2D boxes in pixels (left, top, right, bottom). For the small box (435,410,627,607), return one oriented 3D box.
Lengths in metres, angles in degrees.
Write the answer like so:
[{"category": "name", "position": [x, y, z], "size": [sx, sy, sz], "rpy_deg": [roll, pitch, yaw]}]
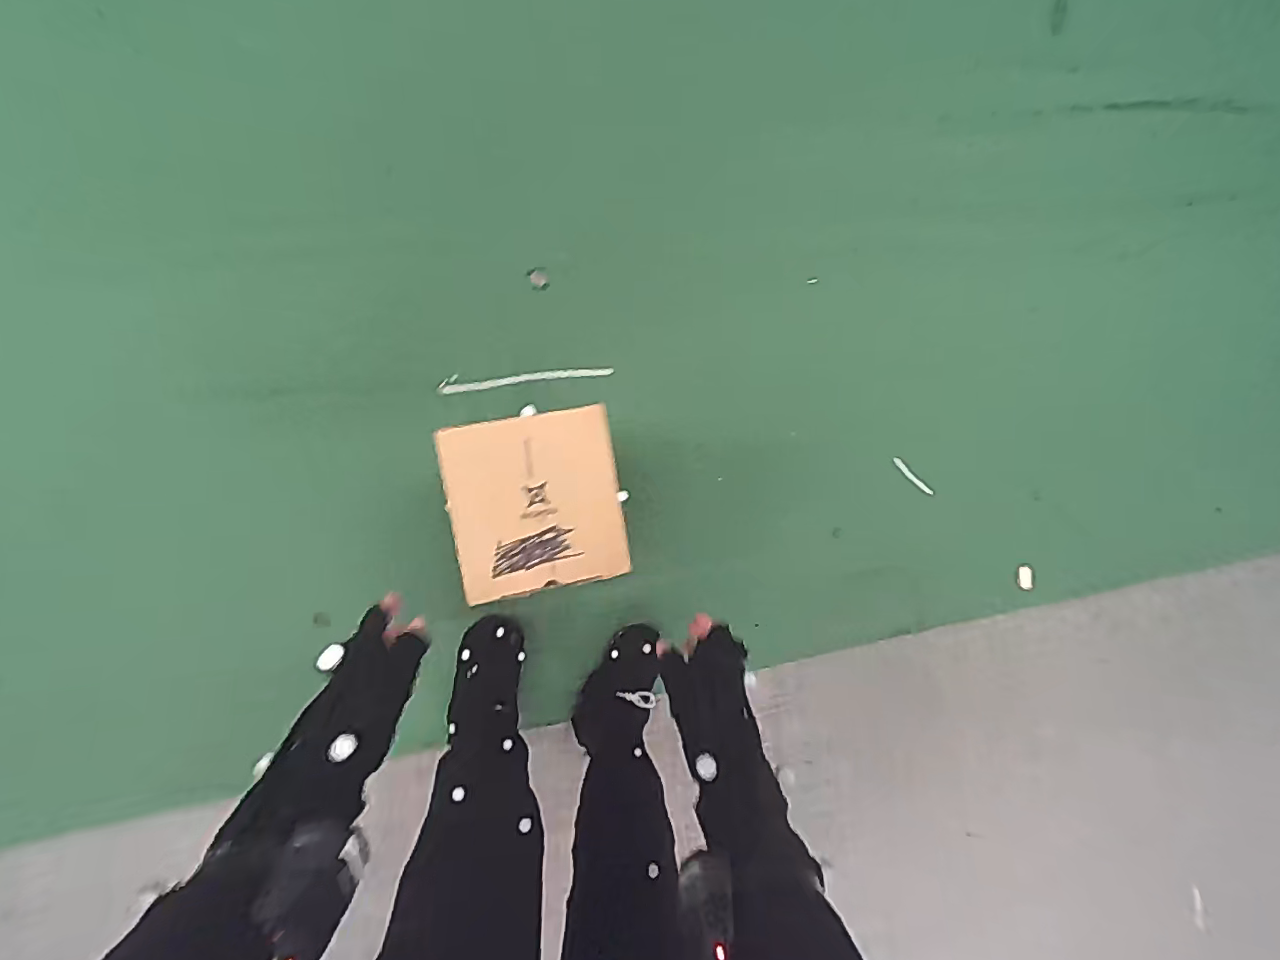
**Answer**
[{"category": "small box", "position": [-0.117, 0.023, 0.613], "size": [0.168, 0.176, 0.179], "rpy_deg": [-11, 94, -10]}]
